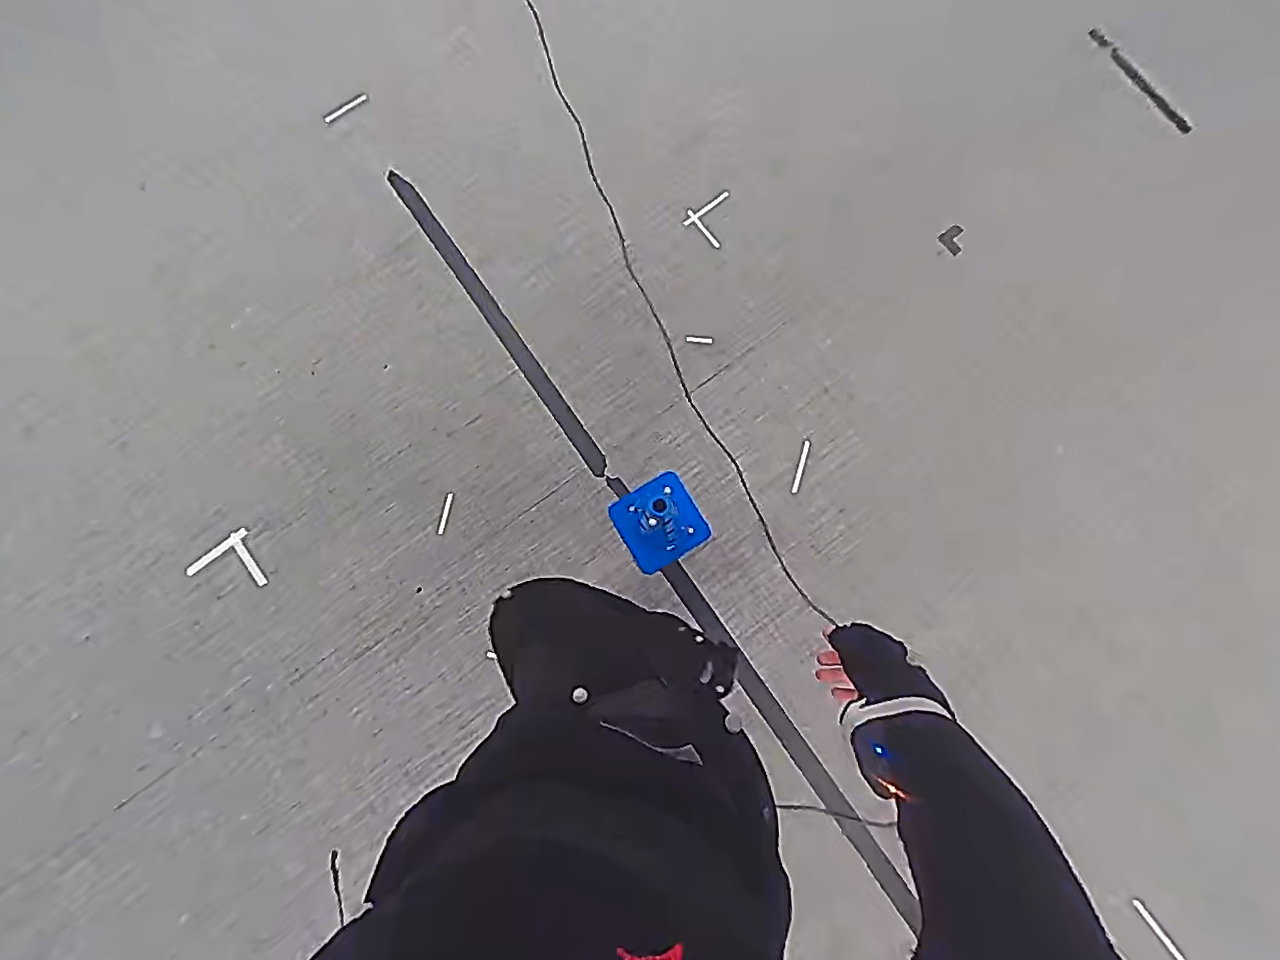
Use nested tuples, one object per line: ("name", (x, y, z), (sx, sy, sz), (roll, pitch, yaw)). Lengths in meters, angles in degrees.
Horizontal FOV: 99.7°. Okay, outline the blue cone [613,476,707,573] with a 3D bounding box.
("blue cone", (0.045, 0.076, 1.157), (0.193, 0.380, 0.192), (-32, 81, -5))
